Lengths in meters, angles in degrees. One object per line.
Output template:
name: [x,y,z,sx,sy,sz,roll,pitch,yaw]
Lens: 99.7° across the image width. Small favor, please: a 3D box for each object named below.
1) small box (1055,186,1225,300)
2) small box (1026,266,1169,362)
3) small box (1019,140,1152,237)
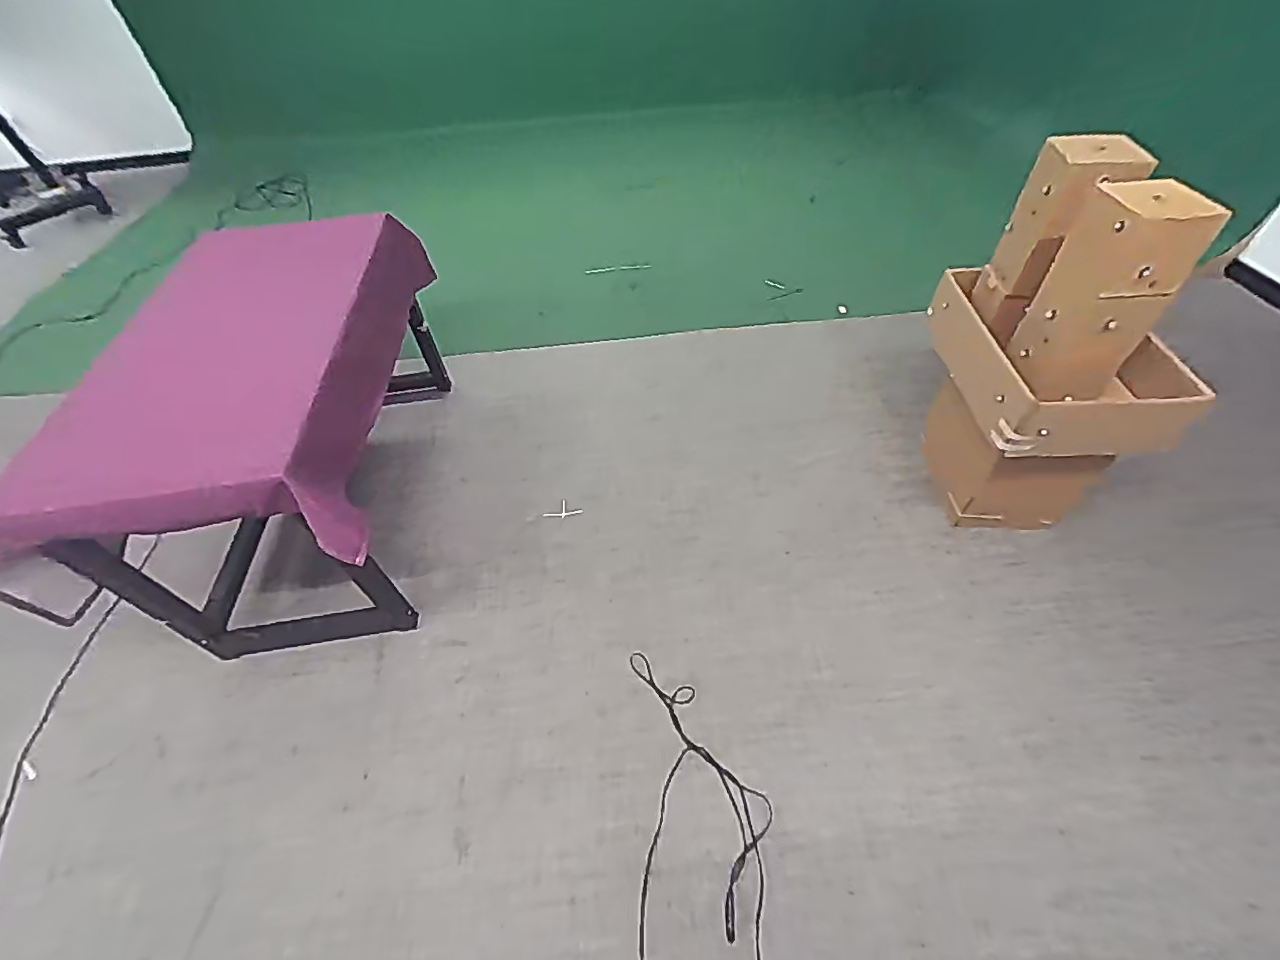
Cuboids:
small box: [1.041,-0.503,1.150,0.168,0.176,0.179,-3,49,1]
small box: [1.052,-0.392,1.270,0.179,0.176,0.168,-4,49,2]
small box: [1.070,-0.709,1.323,0.179,0.176,0.168,3,51,6]
